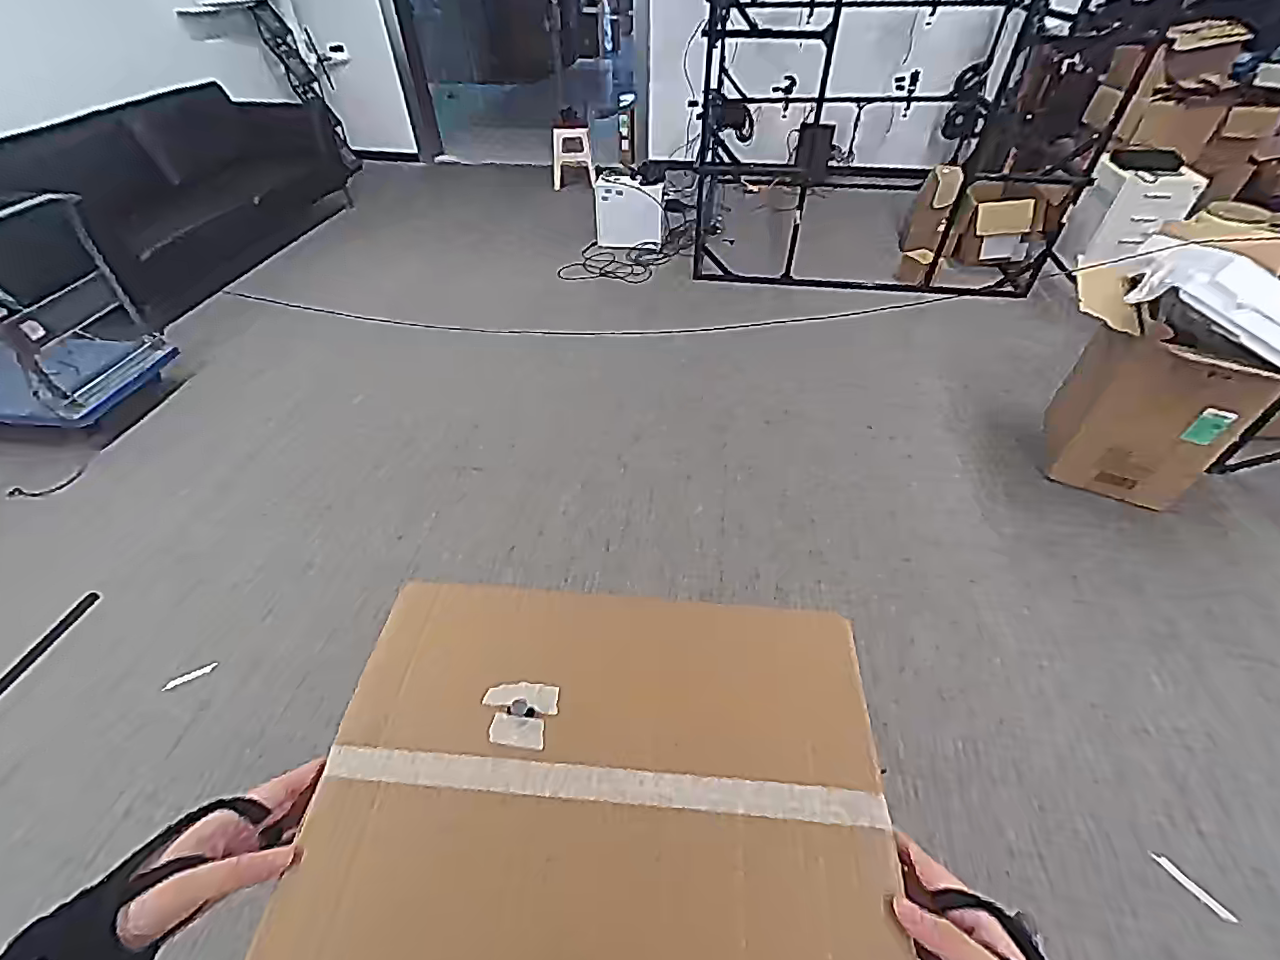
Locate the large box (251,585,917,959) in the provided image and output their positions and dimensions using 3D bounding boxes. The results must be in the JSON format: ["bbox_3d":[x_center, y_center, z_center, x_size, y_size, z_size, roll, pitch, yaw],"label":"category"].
[{"bbox_3d":[-0.023,0.316,0.492,0.408,0.320,0.320,3,48,5],"label":"large box"}]
